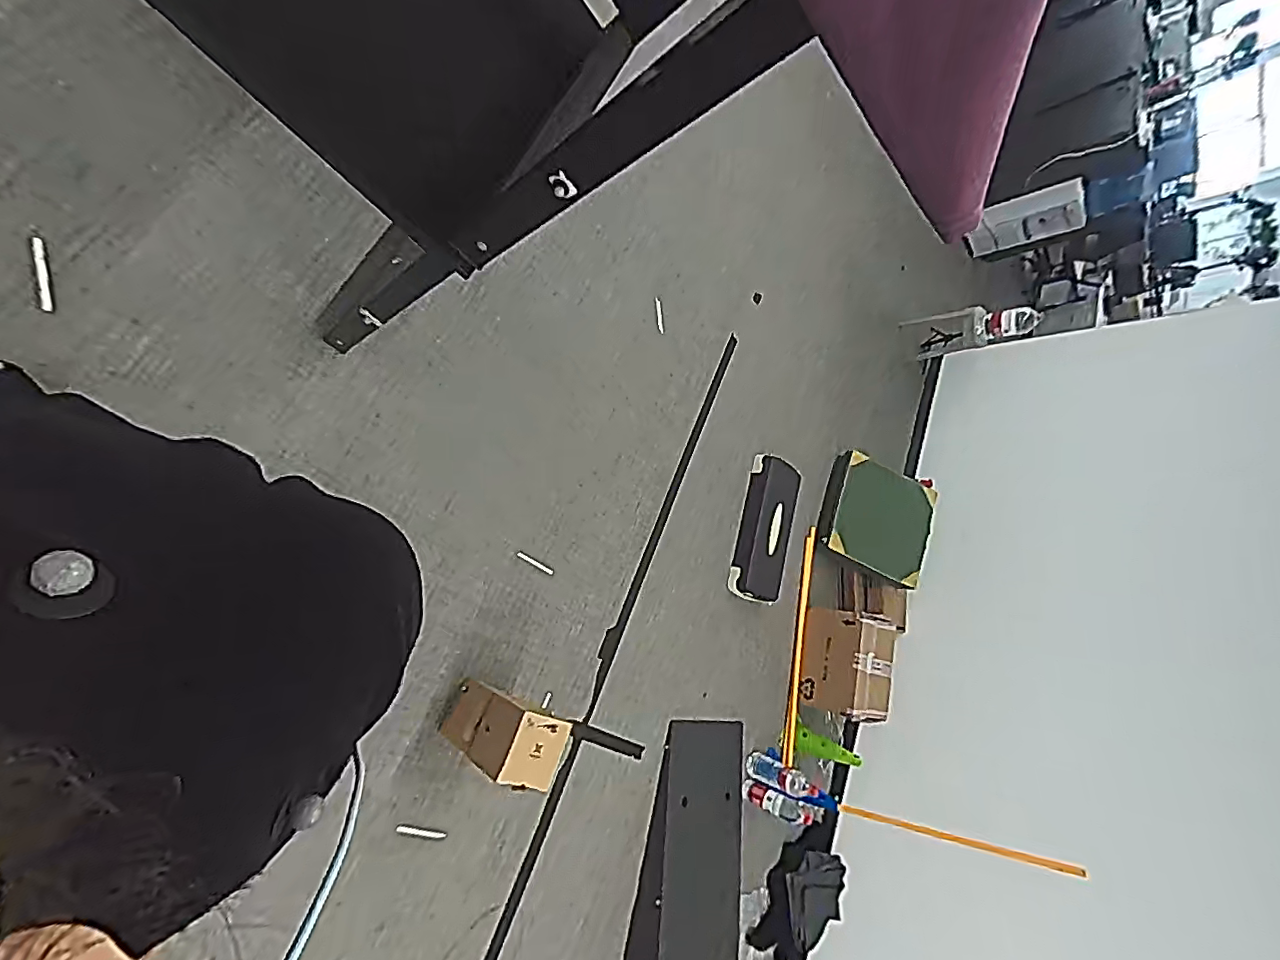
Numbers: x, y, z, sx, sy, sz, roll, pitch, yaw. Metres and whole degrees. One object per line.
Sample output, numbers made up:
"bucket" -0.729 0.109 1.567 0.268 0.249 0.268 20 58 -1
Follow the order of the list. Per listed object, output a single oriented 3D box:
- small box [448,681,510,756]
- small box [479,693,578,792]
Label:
"small box" -0.415 0.695 1.550 0.179 0.176 0.168 41 64 -35
"small box" -0.301 0.691 1.431 0.168 0.176 0.179 36 67 -36
